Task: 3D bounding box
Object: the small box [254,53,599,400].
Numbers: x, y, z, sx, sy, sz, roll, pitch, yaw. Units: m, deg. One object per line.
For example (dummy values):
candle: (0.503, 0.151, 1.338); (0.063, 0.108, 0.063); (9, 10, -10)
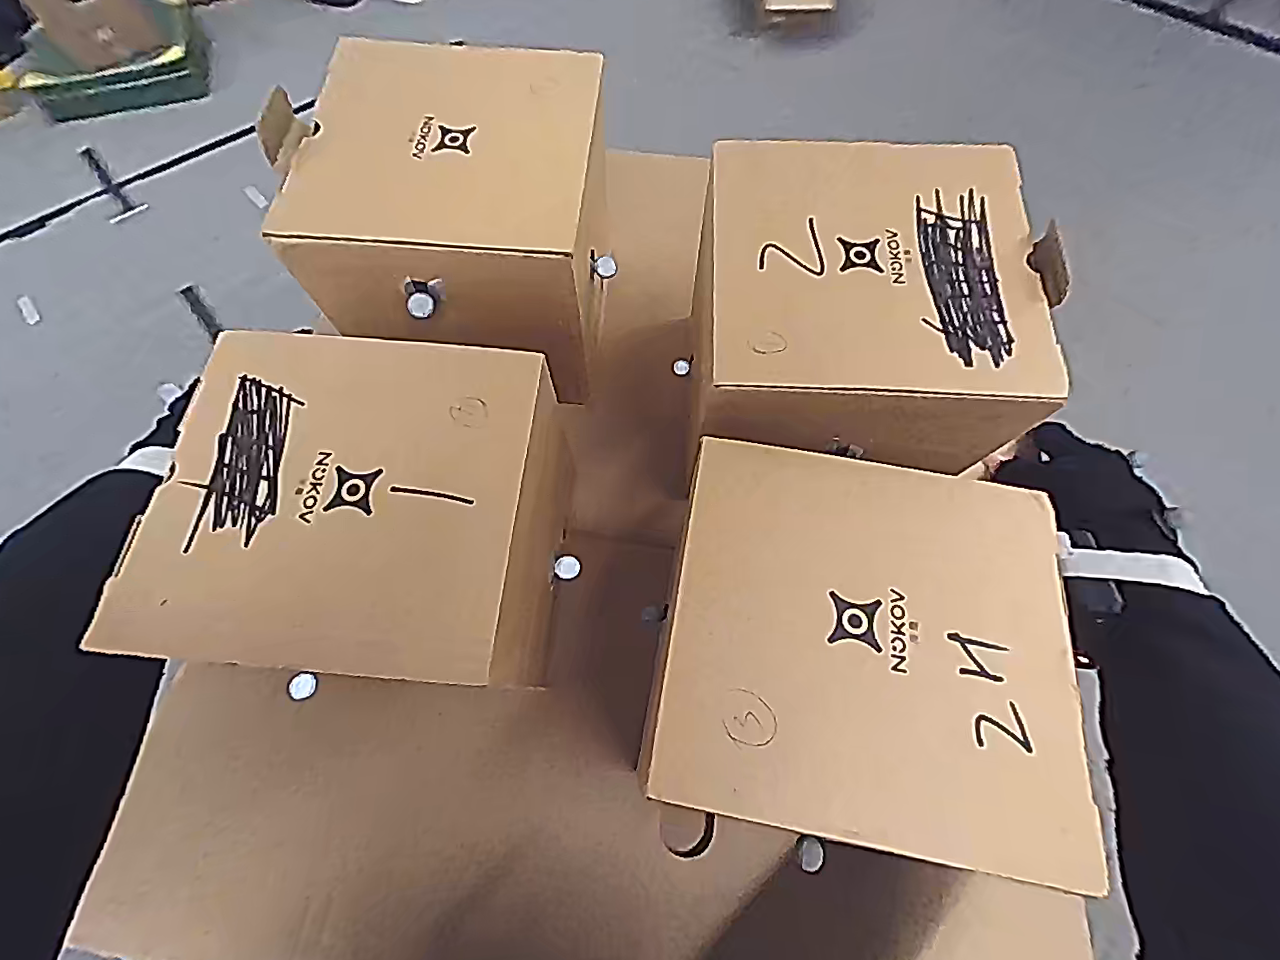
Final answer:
small box: (-0.126, -0.172, 0.404); (0.179, 0.176, 0.168); (3, 69, 2)
